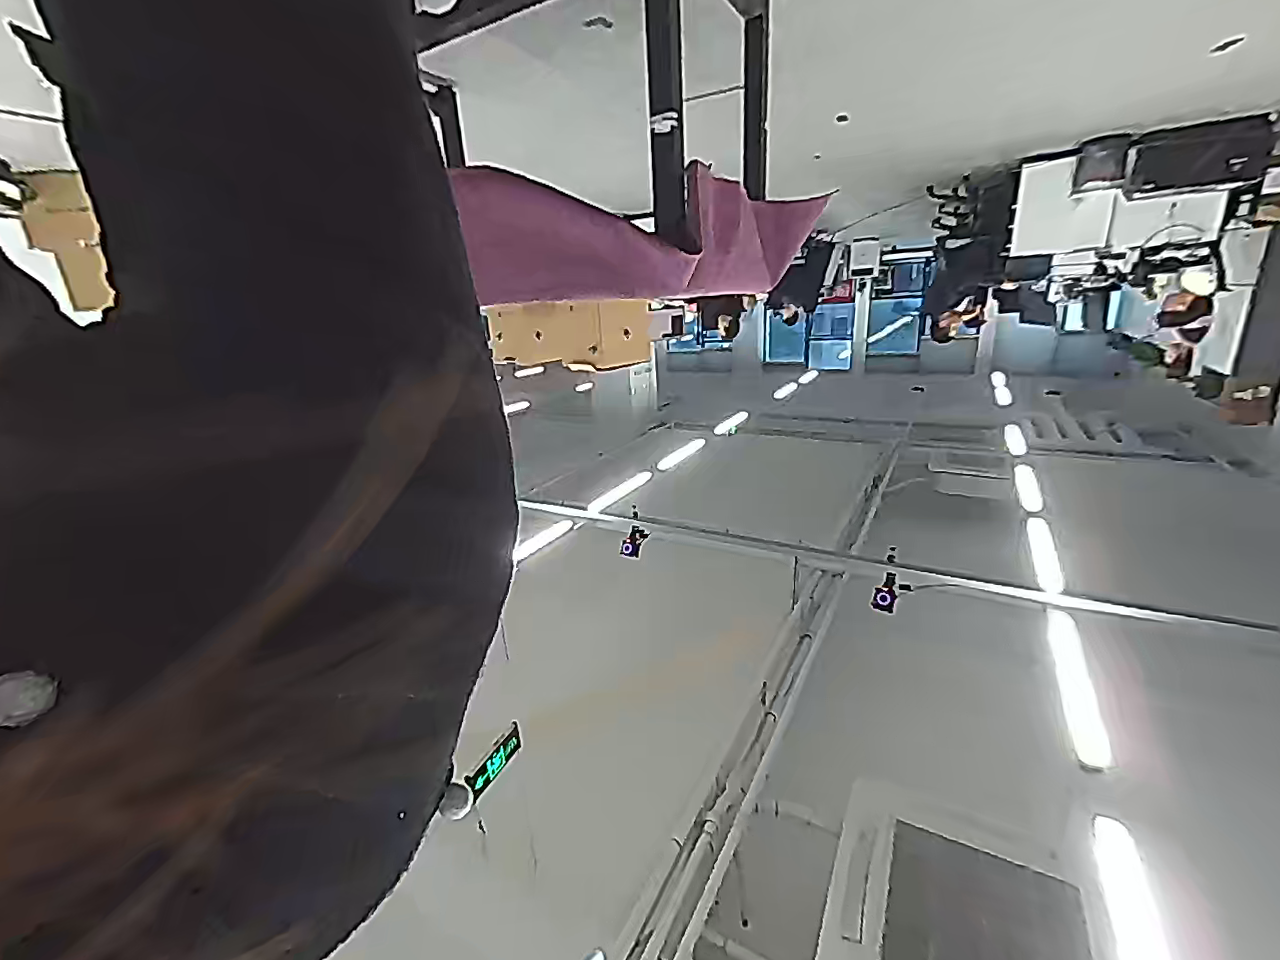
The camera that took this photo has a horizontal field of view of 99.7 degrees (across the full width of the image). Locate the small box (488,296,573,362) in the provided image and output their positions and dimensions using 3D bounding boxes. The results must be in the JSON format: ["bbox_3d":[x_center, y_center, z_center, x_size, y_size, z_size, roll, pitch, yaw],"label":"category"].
[{"bbox_3d":[-0.322,-0.445,1.587,0.168,0.176,0.179,12,-155,36],"label":"small box"}]
